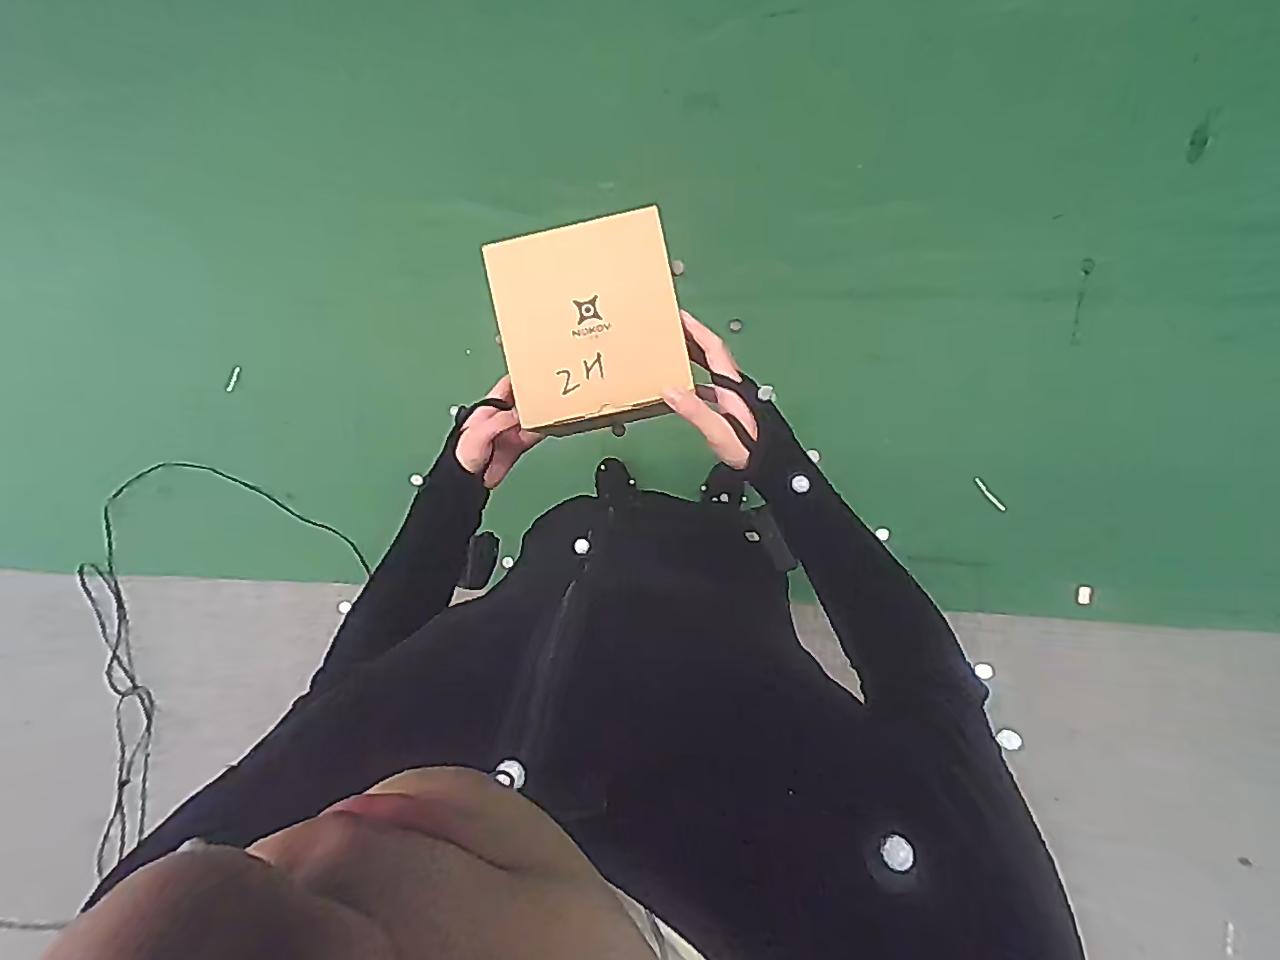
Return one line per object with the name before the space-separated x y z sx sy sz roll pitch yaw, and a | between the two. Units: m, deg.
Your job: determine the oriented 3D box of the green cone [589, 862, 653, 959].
green cone | -0.084 1.312 1.527 0.202 0.368 0.200 2 93 8
